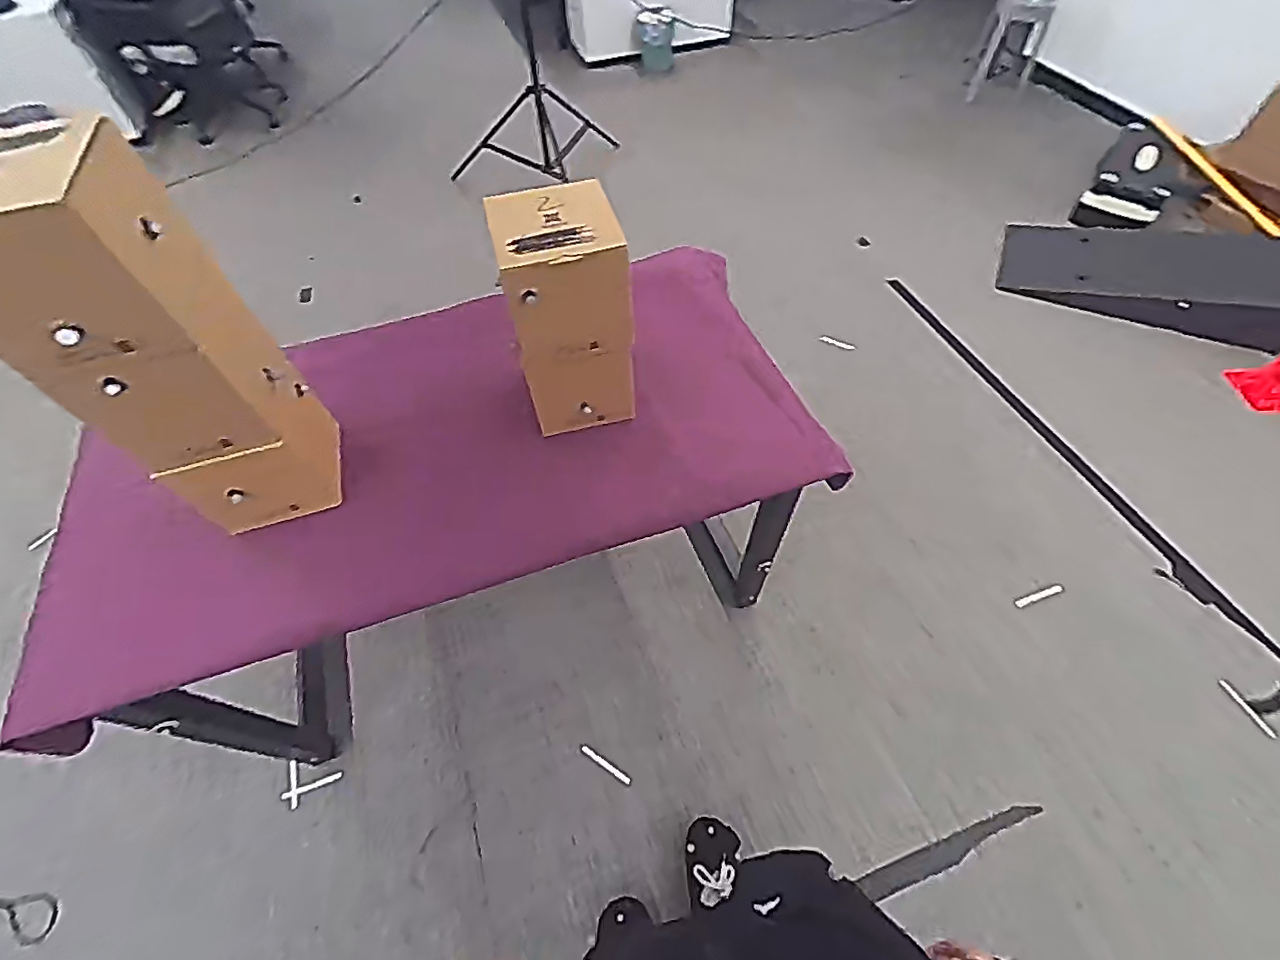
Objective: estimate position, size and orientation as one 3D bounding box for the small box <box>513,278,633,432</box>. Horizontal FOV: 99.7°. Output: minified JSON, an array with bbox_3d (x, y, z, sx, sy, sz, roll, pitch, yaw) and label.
[{"bbox_3d":[-0.110,-0.209,0.920,0.168,0.176,0.179,-13,57,-6],"label":"small box"}]

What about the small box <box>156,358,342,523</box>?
[{"bbox_3d":[-0.579,-0.051,0.828,0.168,0.176,0.179,-16,57,-9],"label":"small box"}]

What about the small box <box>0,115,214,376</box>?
[{"bbox_3d":[-0.584,-0.238,0.558,0.168,0.176,0.179,-16,58,-9],"label":"small box"}]

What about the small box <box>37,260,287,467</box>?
[{"bbox_3d":[-0.585,-0.147,0.695,0.168,0.176,0.179,-17,57,-9],"label":"small box"}]
